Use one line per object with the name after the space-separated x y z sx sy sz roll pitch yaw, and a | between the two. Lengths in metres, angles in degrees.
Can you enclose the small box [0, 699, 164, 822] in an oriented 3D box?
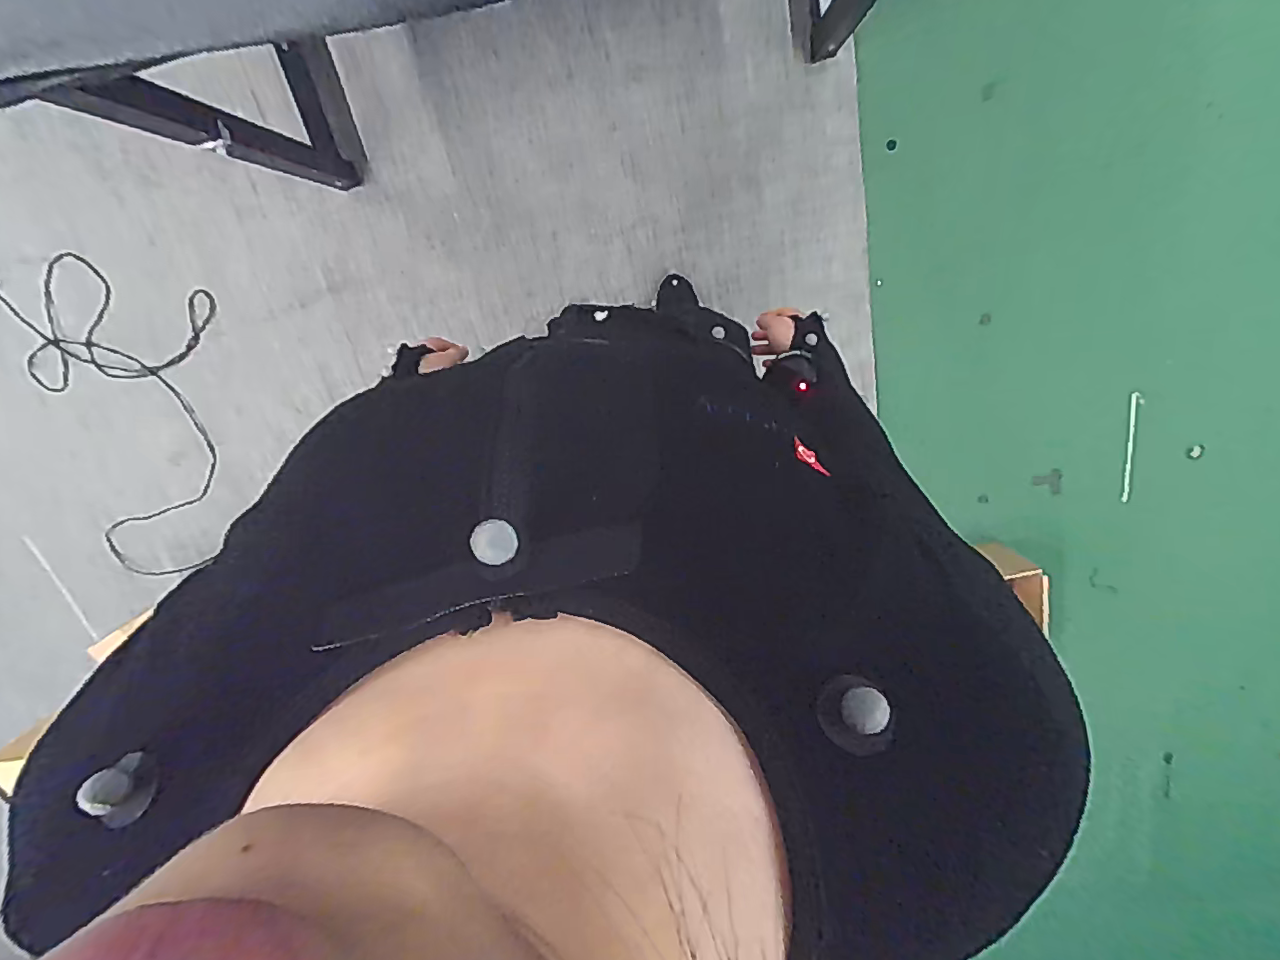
-1.215 0.605 1.180 0.179 0.176 0.168 -9 110 6 | small box
